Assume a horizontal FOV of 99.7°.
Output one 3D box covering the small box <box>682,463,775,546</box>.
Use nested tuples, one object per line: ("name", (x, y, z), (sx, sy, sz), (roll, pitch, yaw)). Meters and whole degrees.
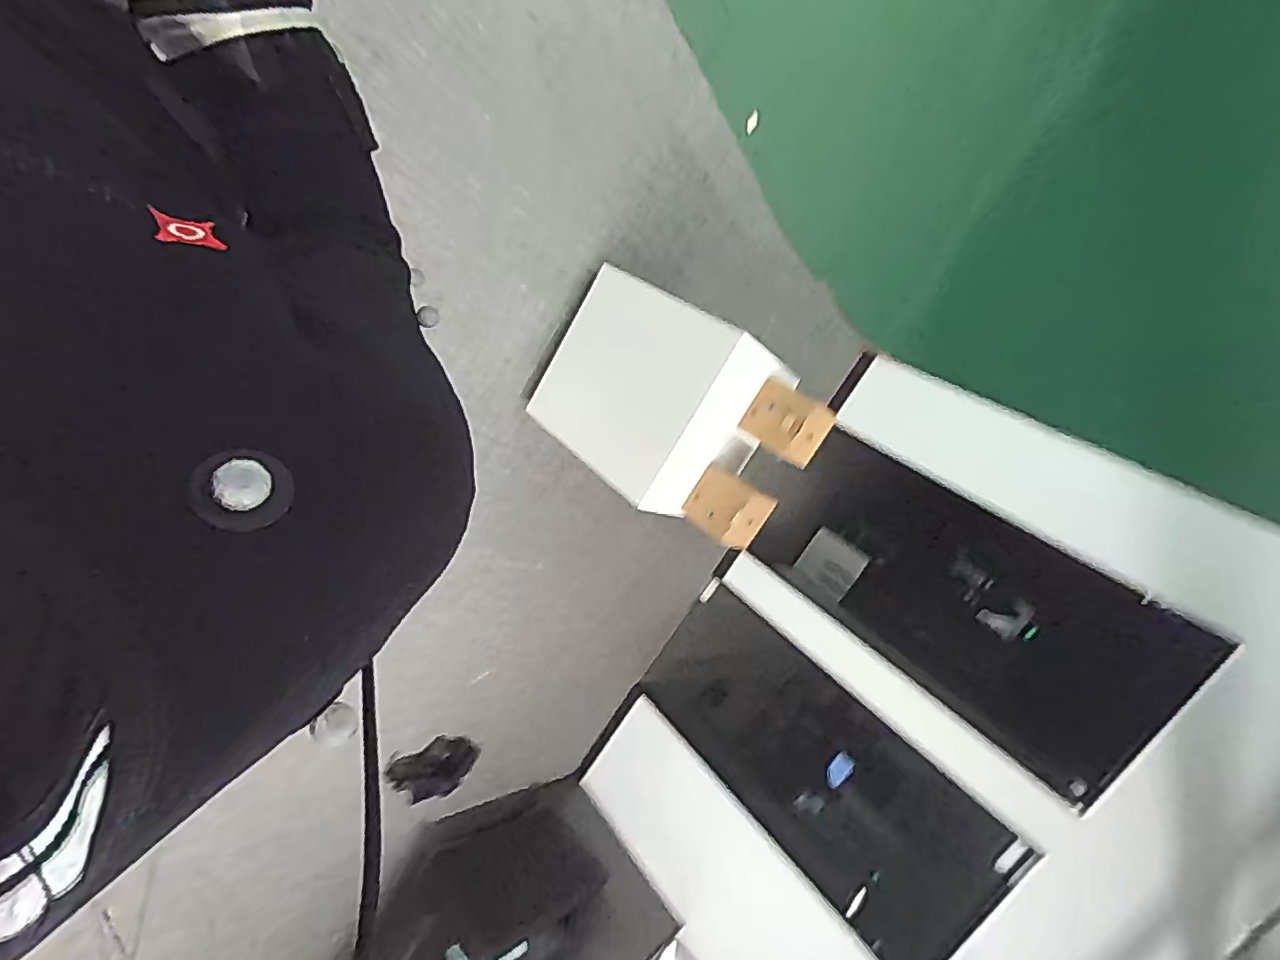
("small box", (0.252, 0.069, 1.557), (0.179, 0.176, 0.168), (18, 108, -55))

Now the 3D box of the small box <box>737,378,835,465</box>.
("small box", (0.408, -0.166, 1.515), (0.179, 0.176, 0.168), (13, 112, -52))
